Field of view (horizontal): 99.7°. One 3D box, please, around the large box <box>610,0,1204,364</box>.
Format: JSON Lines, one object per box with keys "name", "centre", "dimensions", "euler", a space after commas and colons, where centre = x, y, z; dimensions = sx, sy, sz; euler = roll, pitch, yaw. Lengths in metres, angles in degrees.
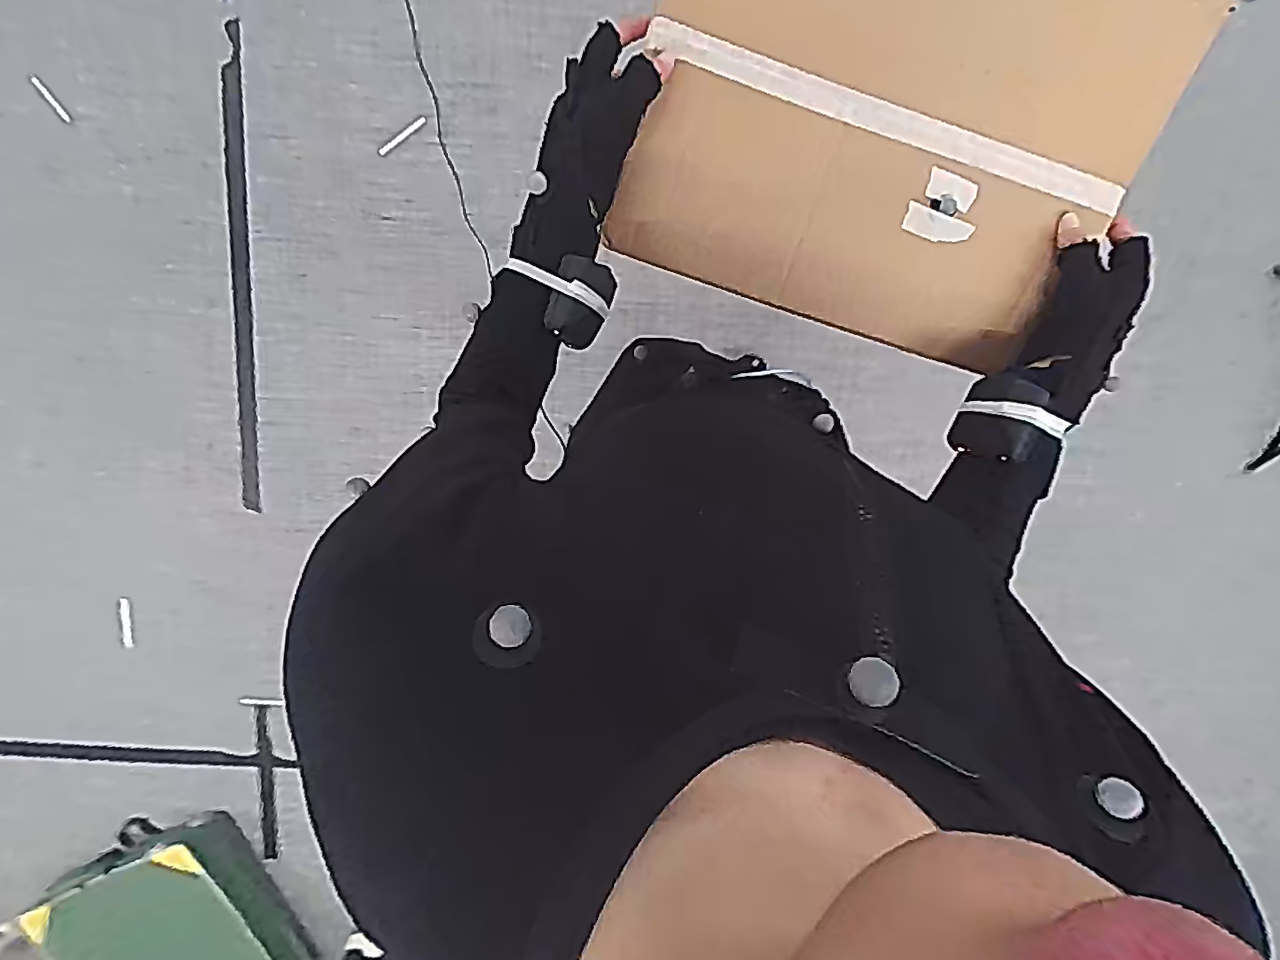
{"name": "large box", "centre": [0.204, -0.353, 0.585], "dimensions": [0.408, 0.320, 0.320], "euler": [16, 113, -6]}
